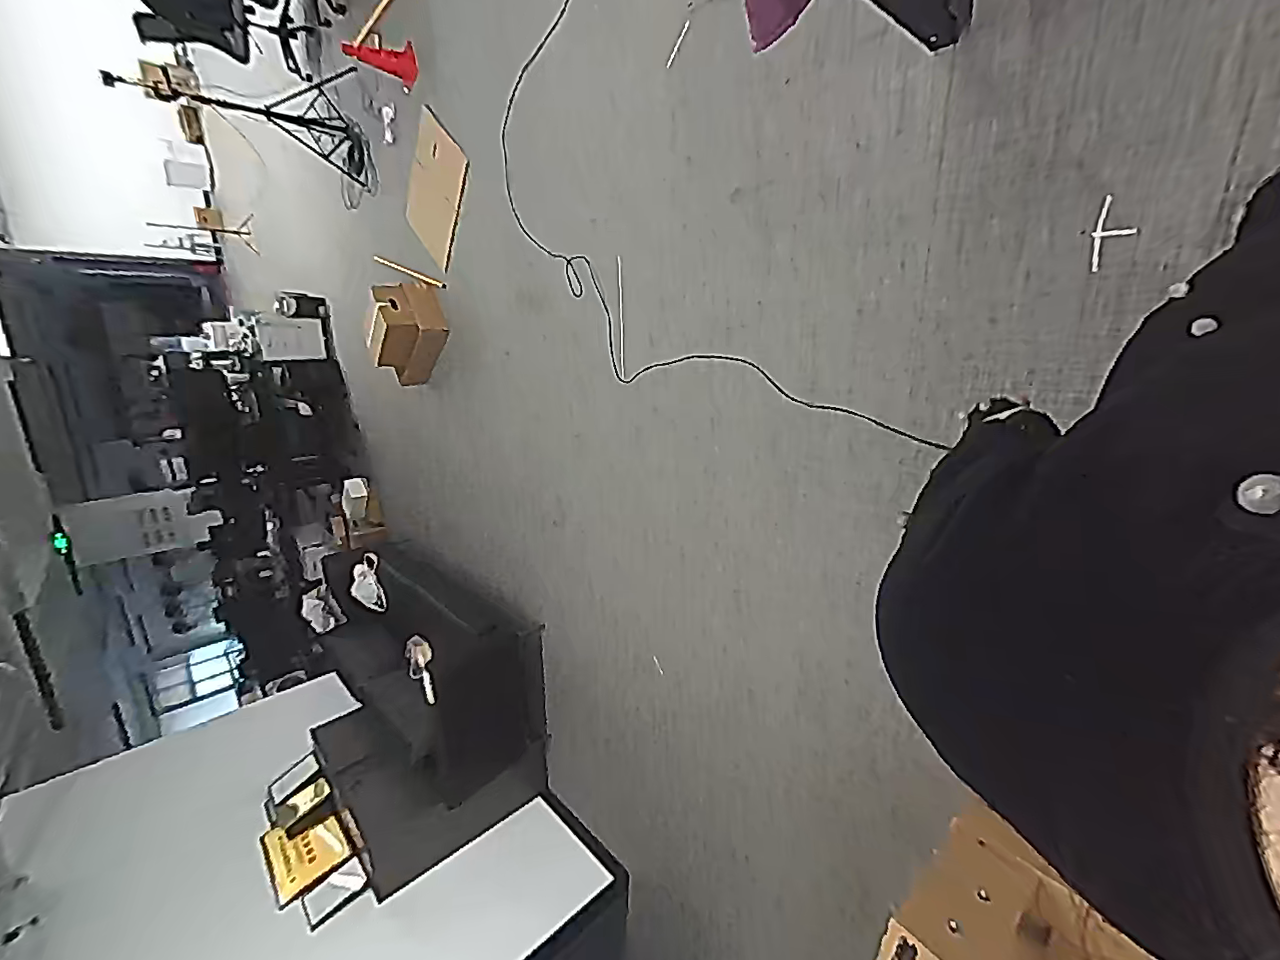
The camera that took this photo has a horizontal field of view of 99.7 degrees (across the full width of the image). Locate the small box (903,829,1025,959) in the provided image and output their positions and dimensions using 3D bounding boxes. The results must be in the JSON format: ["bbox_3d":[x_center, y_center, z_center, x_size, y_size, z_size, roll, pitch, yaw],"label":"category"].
[{"bbox_3d":[0.710,0.926,1.183,0.168,0.176,0.179,23,119,43],"label":"small box"}]

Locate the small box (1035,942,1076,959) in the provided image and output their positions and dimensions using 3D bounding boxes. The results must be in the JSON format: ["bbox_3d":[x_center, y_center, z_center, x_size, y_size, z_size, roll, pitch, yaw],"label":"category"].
[{"bbox_3d":[0.856,1.085,1.068,0.168,0.176,0.179,21,118,44],"label":"small box"}]
